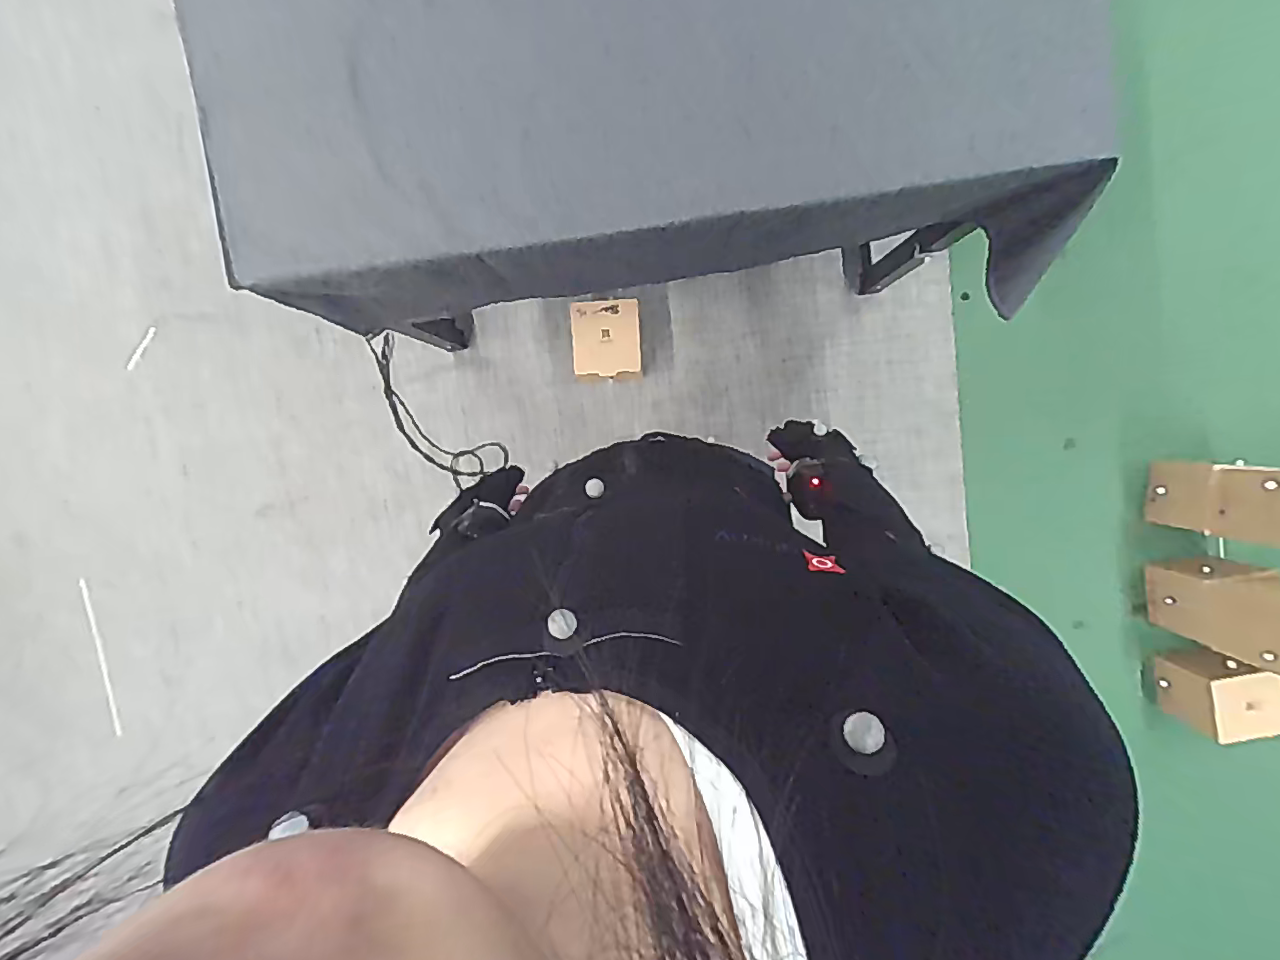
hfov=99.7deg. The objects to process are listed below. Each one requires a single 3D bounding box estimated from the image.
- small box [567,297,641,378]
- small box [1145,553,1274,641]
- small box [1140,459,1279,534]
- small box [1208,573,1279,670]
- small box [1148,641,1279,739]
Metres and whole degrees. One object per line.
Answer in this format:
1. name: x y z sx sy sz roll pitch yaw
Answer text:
1. small box: -0.086 -0.352 1.364 0.168 0.176 0.179 -3 95 3
2. small box: 1.443 0.294 1.380 0.179 0.176 0.168 -9 95 2
3. small box: 1.428 0.036 1.358 0.179 0.176 0.168 4 94 3
4. small box: 1.444 0.315 1.219 0.168 0.176 0.179 -6 95 2
5. small box: 1.487 0.536 1.401 0.179 0.176 0.168 -12 95 3
